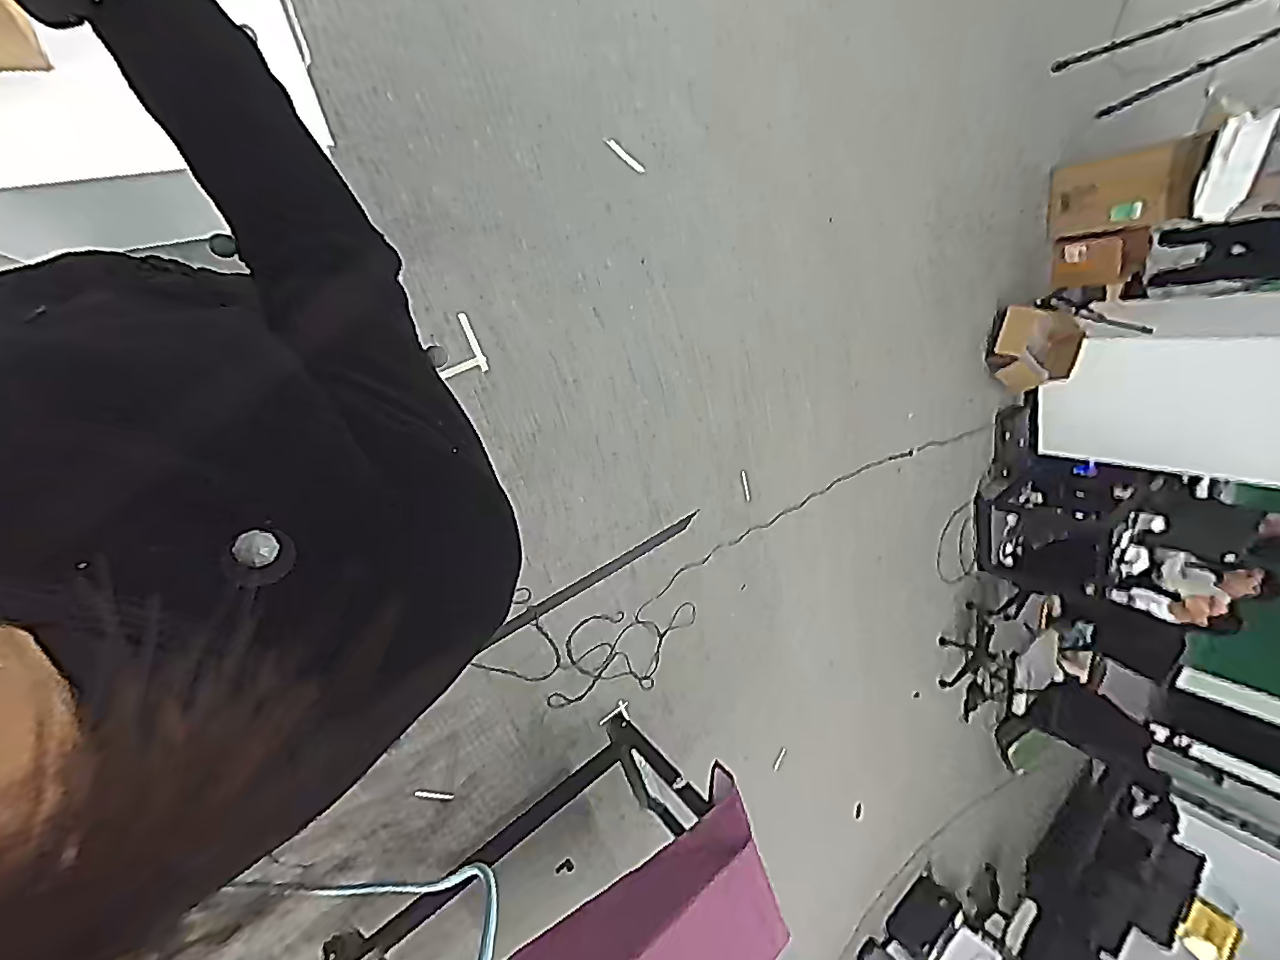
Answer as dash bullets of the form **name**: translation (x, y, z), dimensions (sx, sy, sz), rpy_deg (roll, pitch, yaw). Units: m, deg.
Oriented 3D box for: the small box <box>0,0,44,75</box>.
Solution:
- **small box**: translation (-0.767, -0.526, 0.532), dimensions (0.179, 0.176, 0.168), rpy_deg (-25, 115, -28)
